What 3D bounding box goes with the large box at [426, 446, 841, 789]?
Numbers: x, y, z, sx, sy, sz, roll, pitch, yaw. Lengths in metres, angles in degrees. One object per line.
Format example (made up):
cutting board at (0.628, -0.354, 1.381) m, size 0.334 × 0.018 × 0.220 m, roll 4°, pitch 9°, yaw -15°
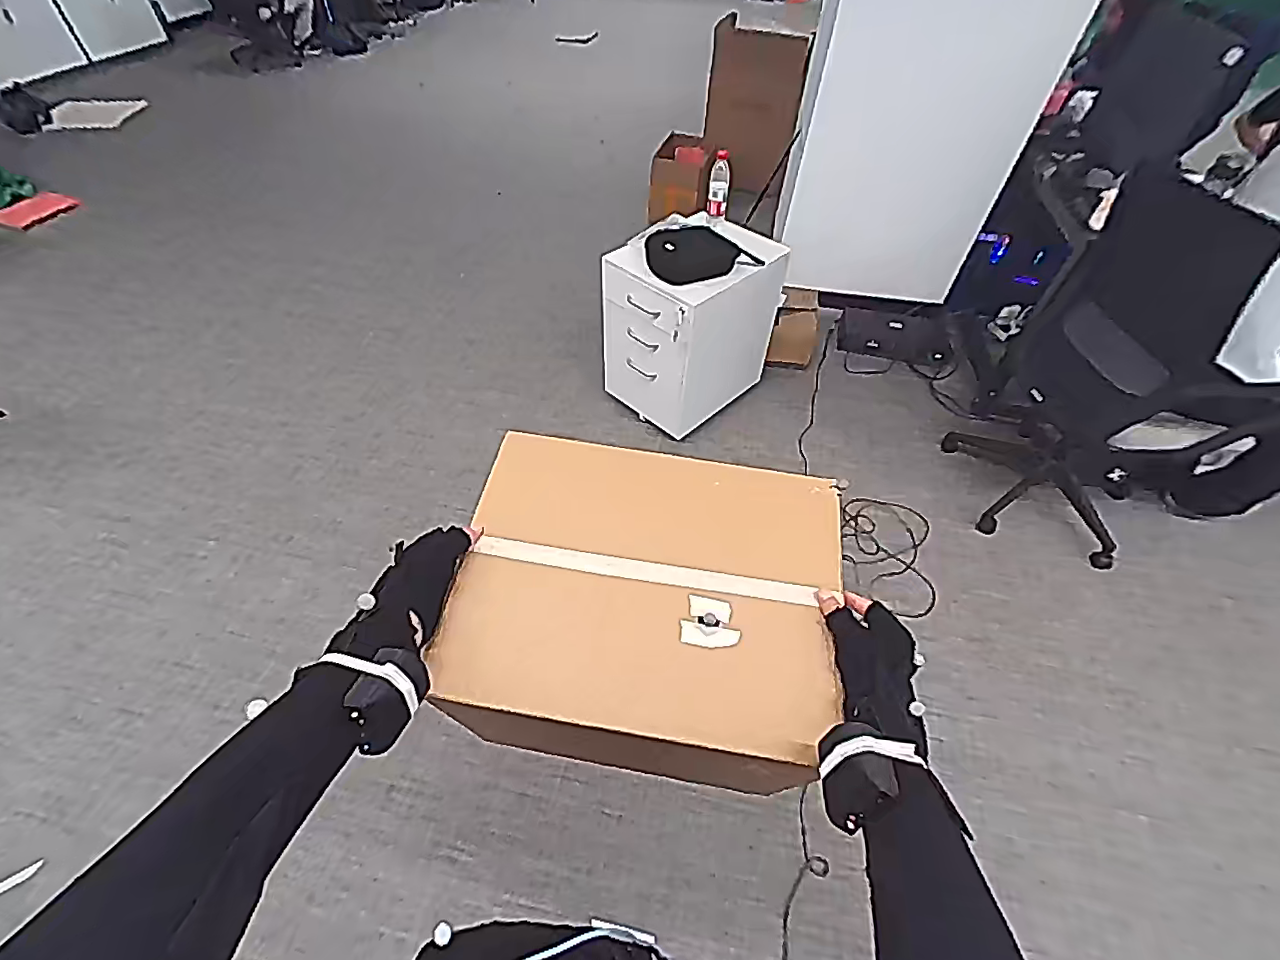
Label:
large box at (0.003, 0.190, 0.710) m, size 0.408 × 0.320 × 0.320 m, roll 9°, pitch 57°, yaw 3°
